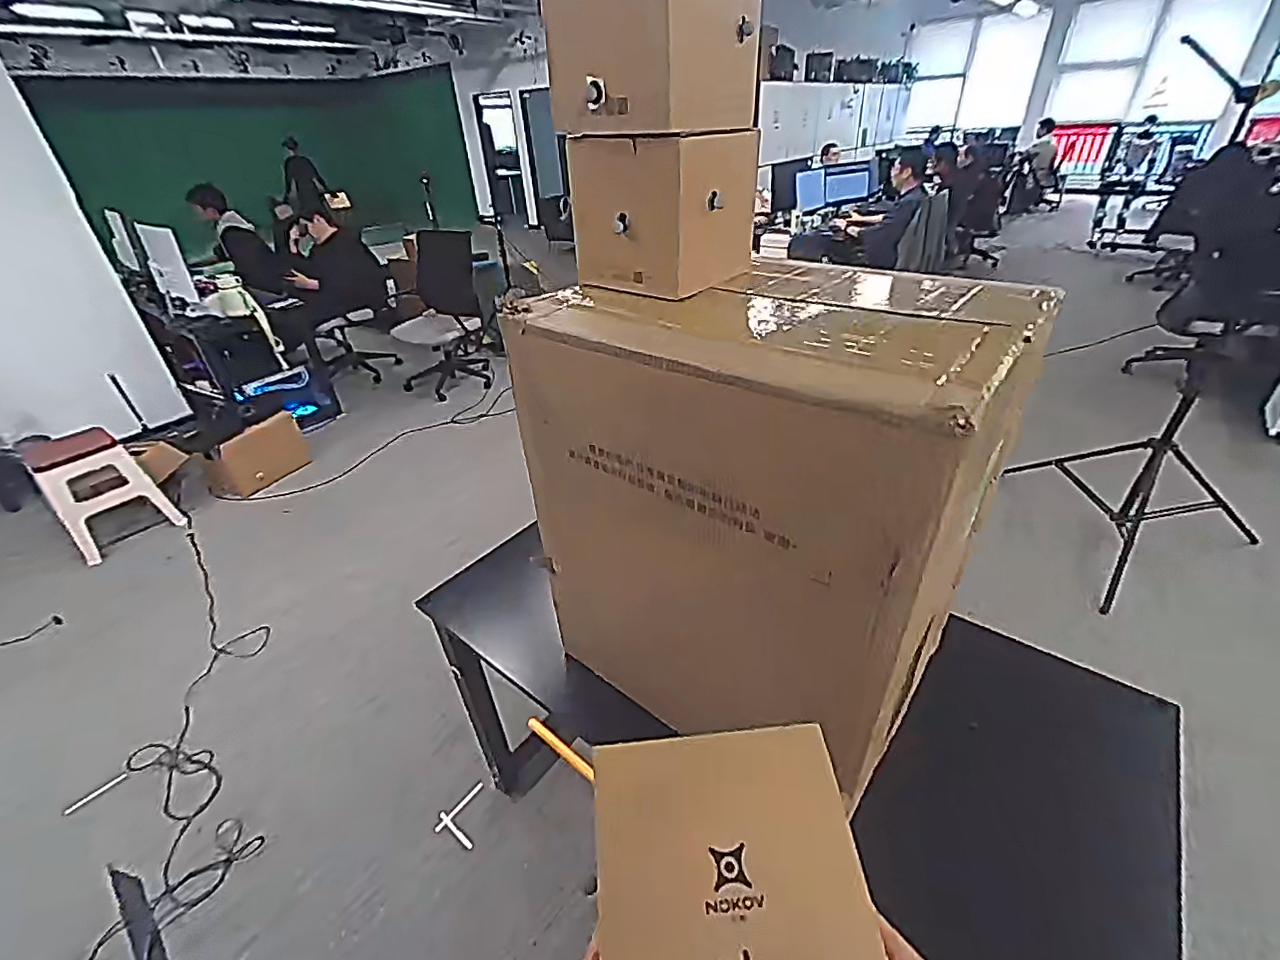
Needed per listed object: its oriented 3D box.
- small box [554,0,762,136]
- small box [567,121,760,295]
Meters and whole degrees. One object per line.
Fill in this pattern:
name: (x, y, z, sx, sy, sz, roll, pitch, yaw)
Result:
small box: (0.019, -0.474, 0.583, 0.168, 0.176, 0.179, 20, 40, 32)
small box: (0.034, -0.343, 0.680, 0.168, 0.176, 0.179, 22, 41, 32)
